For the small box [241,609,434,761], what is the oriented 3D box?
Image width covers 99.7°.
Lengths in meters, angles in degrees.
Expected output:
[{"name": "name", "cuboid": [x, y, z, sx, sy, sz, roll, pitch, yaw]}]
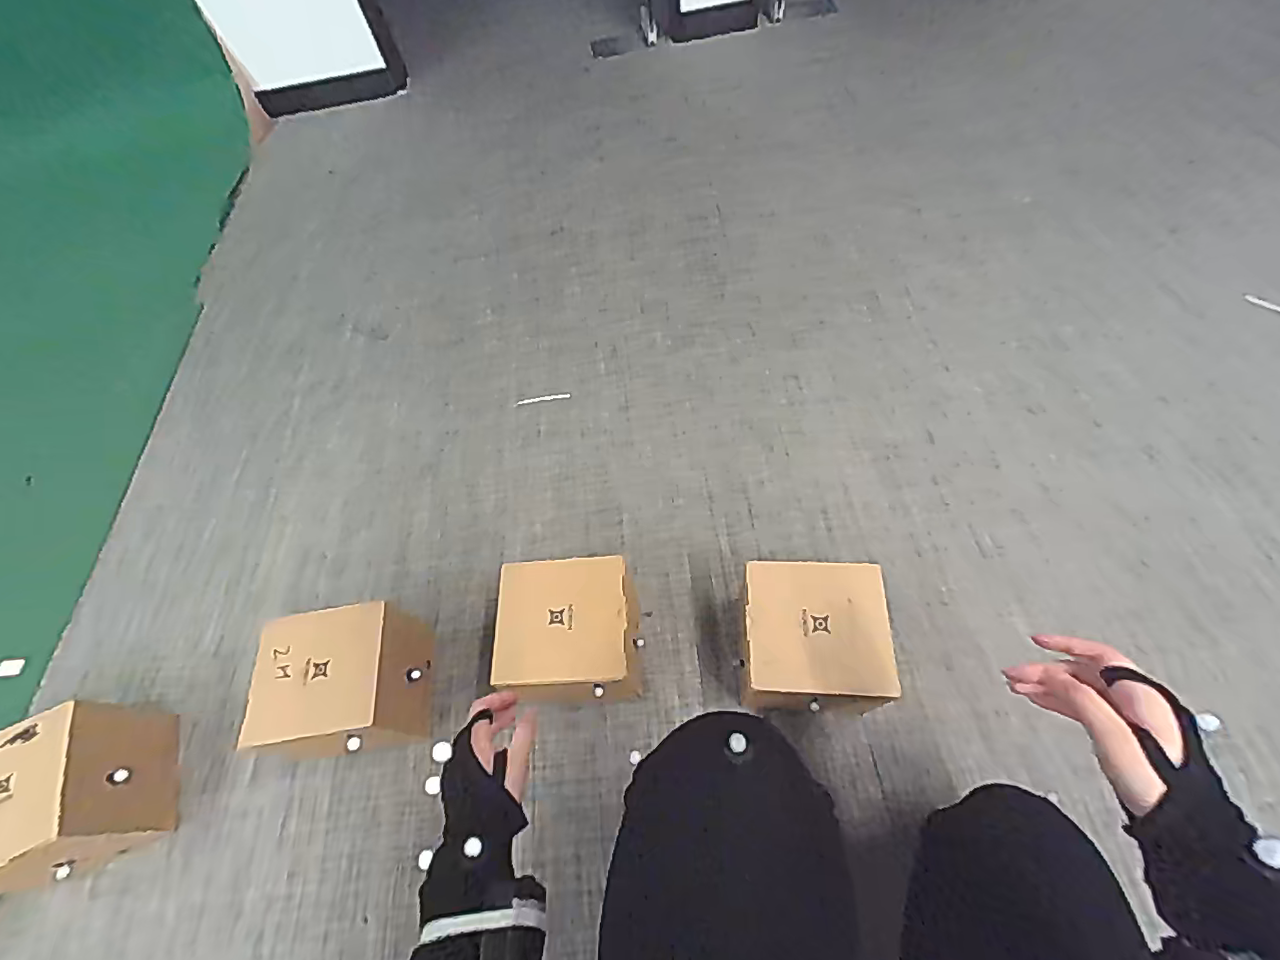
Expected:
[{"name": "small box", "cuboid": [-0.416, 0.301, 0.781, 0.179, 0.176, 0.168, -10, 58, 1]}]

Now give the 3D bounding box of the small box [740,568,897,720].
[{"name": "small box", "cuboid": [0.227, 0.229, 0.740, 0.179, 0.176, 0.168, 0, 60, 8]}]

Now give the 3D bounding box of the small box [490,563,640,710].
[{"name": "small box", "cuboid": [-0.097, 0.232, 0.783, 0.179, 0.176, 0.168, -4, 59, 4]}]

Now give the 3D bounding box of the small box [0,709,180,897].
[{"name": "small box", "cuboid": [-0.786, 0.444, 0.748, 0.168, 0.176, 0.179, -24, 60, -7]}]
